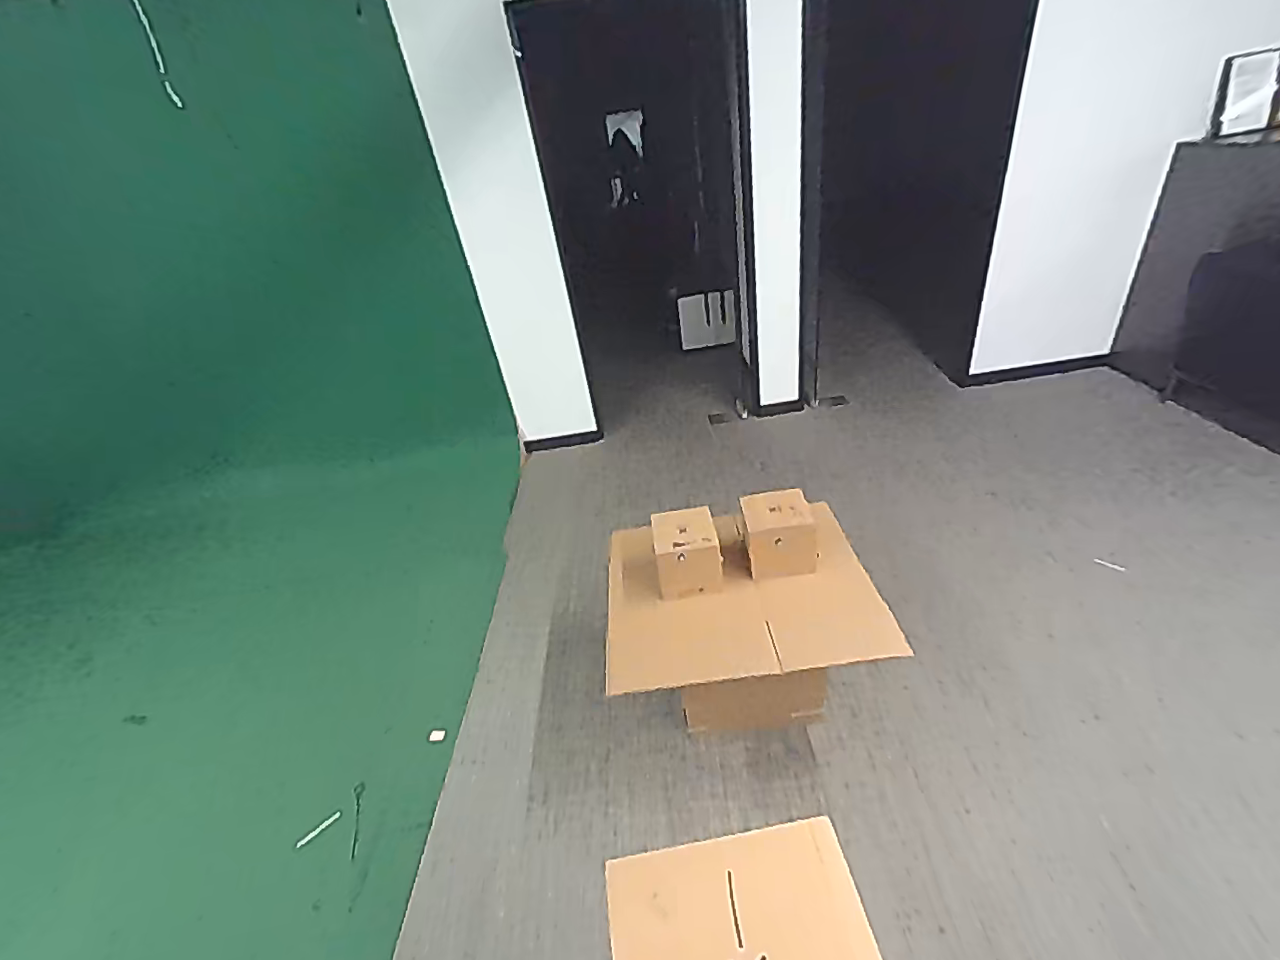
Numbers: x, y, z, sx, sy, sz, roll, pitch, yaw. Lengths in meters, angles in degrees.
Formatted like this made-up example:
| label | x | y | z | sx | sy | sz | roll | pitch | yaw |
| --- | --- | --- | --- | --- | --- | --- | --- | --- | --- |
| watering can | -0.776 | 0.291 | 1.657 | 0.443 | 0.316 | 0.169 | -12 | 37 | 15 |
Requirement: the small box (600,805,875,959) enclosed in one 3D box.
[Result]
| label | x | y | z | sx | sy | sz | roll | pitch | yaw |
| --- | --- | --- | --- | --- | --- | --- | --- | --- | --- |
| small box | 0.072 | 0.363 | 0.377 | 0.168 | 0.176 | 0.179 | -10 | 41 | -2 |

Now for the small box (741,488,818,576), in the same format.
| label | x | y | z | sx | sy | sz | roll | pitch | yaw |
| --- | --- | --- | --- | --- | --- | --- | --- | --- | --- |
| small box | 0.383 | 0.146 | 1.486 | 0.179 | 0.176 | 0.168 | -9 | 32 | 6 |

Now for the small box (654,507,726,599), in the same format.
| label | x | y | z | sx | sy | sz | roll | pitch | yaw |
| --- | --- | --- | --- | --- | --- | --- | --- | --- | --- |
| small box | 0.135 | 0.199 | 1.478 | 0.168 | 0.176 | 0.179 | -10 | 31 | 3 |
